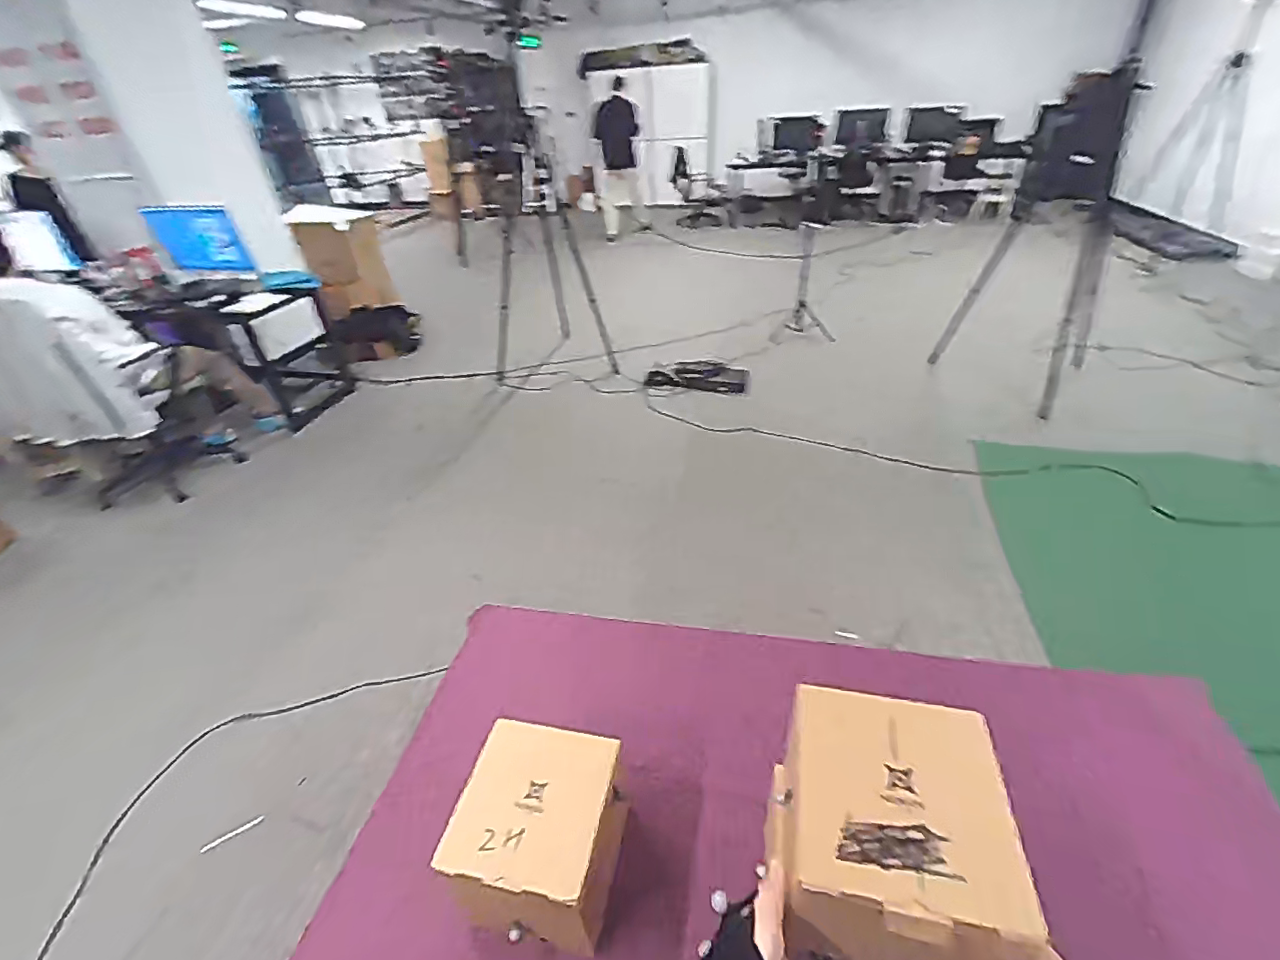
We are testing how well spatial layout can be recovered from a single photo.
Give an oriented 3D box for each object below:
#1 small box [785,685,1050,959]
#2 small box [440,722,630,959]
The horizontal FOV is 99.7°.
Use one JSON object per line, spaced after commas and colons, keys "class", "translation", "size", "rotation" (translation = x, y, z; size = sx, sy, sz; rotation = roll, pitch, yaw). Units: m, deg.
{"class": "small box", "translation": [0.225, 0.323, 0.492], "size": [0.168, 0.176, 0.179], "rotation": [5, 34, 13]}
{"class": "small box", "translation": [-0.111, 0.435, 0.663], "size": [0.168, 0.176, 0.179], "rotation": [4, 35, 13]}
